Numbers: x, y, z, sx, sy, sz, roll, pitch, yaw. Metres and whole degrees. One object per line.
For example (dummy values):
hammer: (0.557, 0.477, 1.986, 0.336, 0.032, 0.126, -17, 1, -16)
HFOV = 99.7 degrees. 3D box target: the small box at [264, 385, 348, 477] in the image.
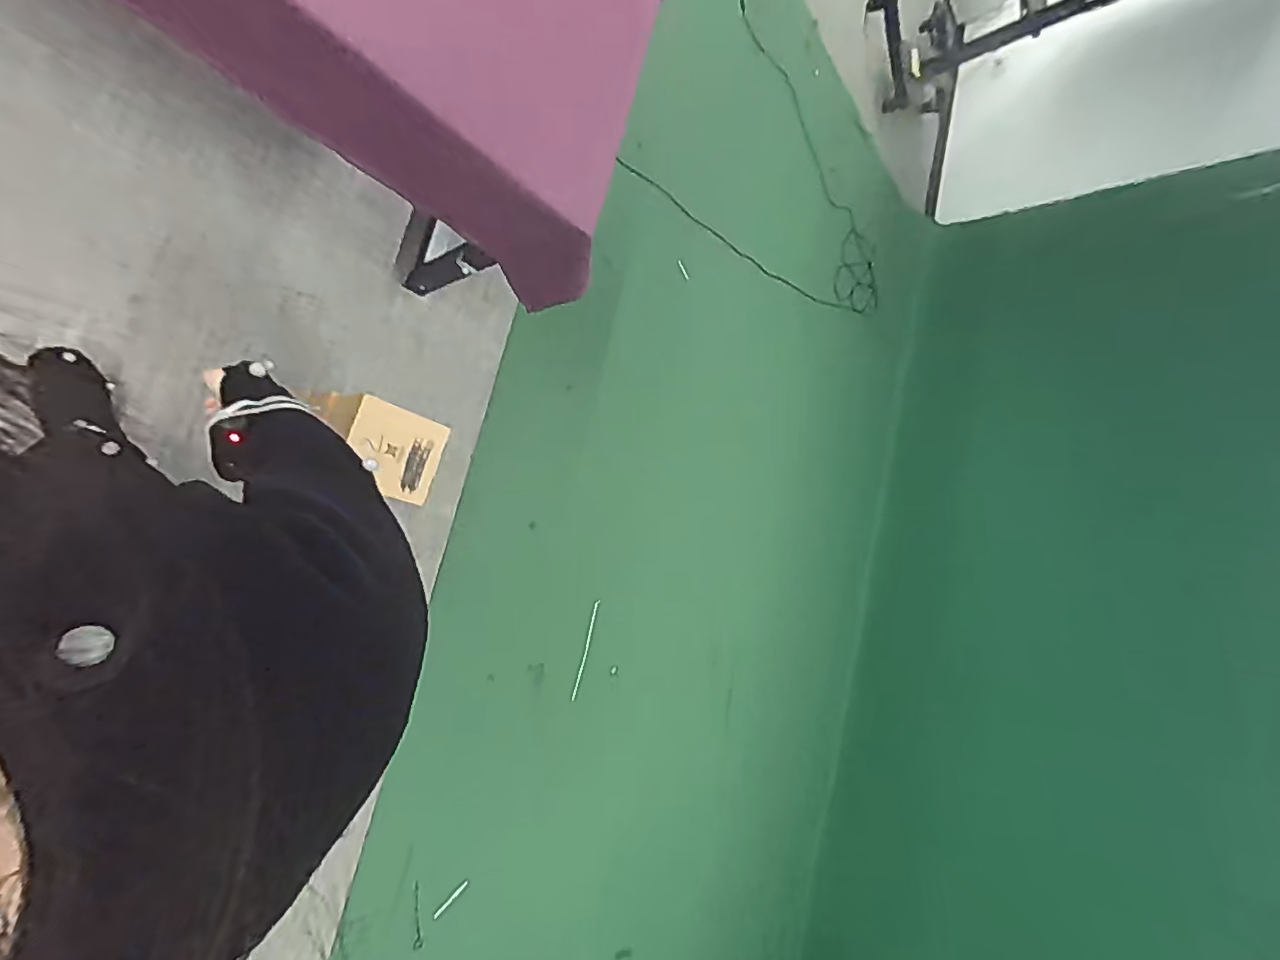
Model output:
small box: (-0.760, -0.111, 1.291, 0.179, 0.176, 0.168, 27, 75, -44)

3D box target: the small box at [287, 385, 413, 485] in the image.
small box: (-0.638, -0.095, 1.183, 0.179, 0.176, 0.168, 24, 78, -45)
